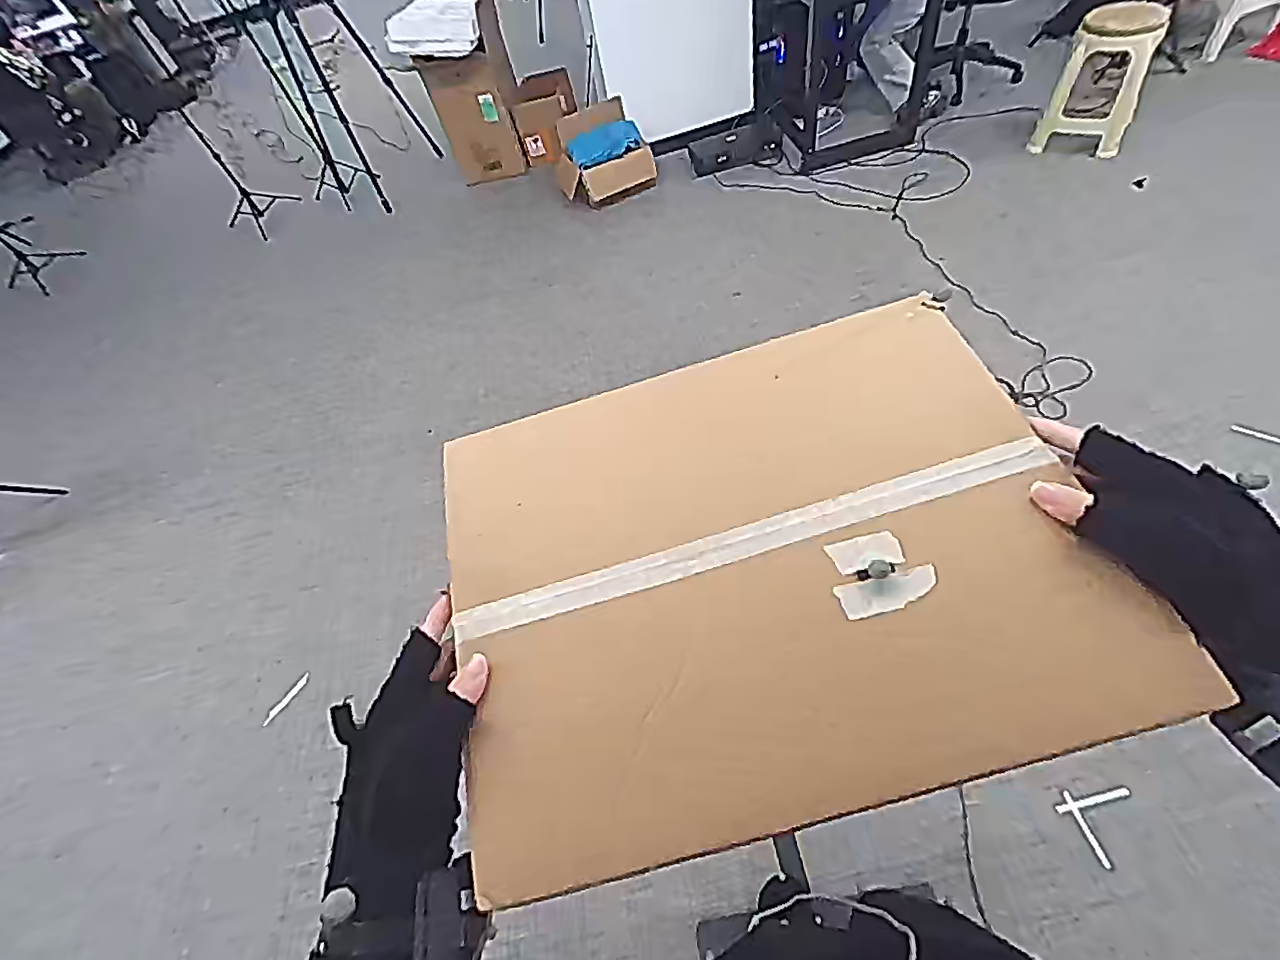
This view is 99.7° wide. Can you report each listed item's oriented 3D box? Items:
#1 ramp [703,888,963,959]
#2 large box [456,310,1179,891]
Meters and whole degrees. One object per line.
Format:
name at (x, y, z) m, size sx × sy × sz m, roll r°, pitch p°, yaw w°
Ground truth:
ramp at (0.413, 1.218, 0.754) m, size 0.509 × 0.206 × 0.991 m, roll -15°, pitch 52°, yaw 4°
large box at (0.095, 0.115, 0.500) m, size 0.408 × 0.320 × 0.320 m, roll -17°, pitch 61°, yaw 1°
